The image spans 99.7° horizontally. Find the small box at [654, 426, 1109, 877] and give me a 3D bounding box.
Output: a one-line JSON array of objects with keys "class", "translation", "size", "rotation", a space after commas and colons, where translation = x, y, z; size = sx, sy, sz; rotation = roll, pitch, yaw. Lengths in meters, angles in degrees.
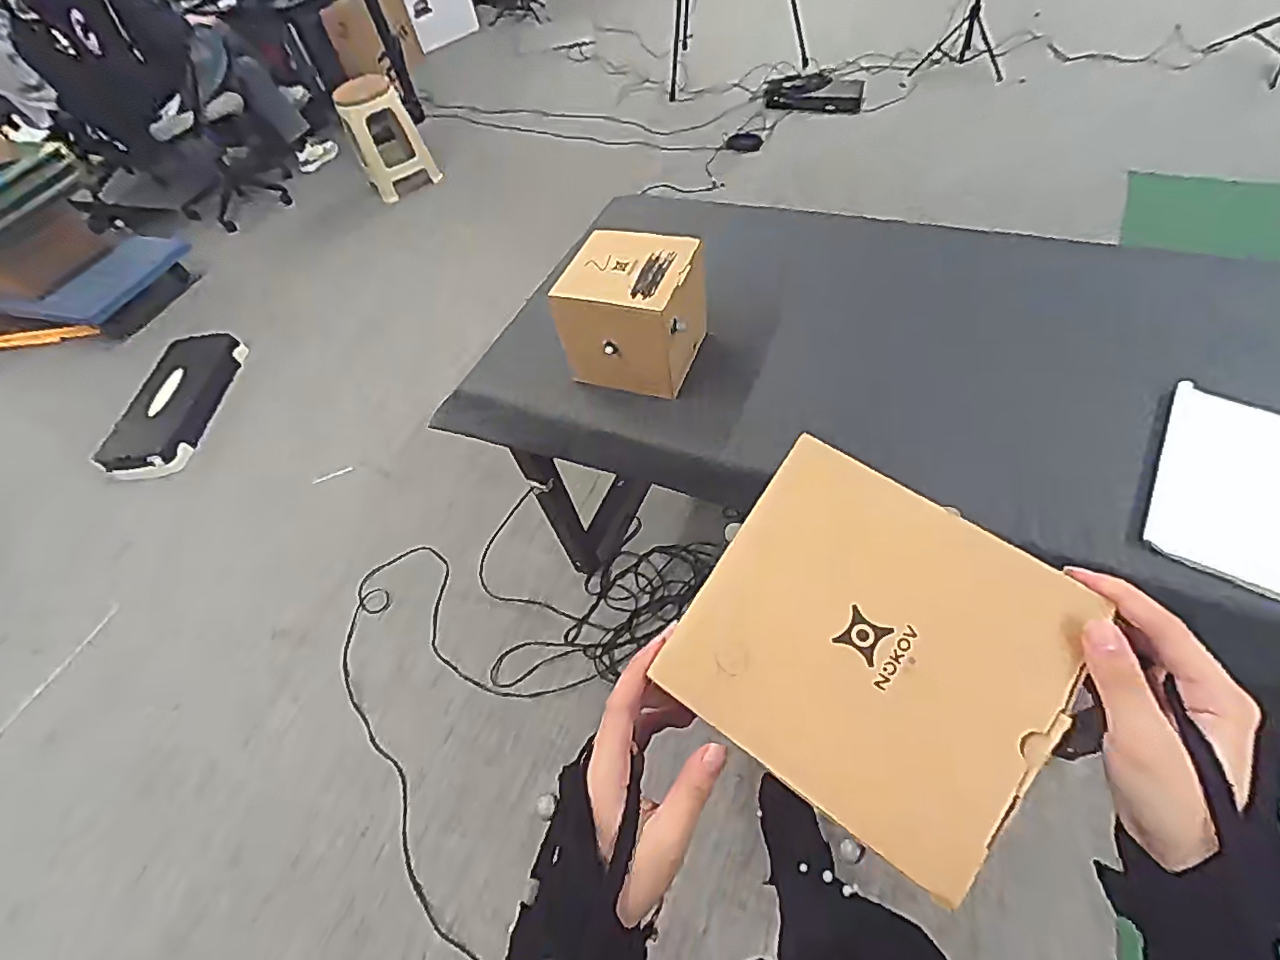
[{"class": "small box", "translation": [0.133, 0.098, 0.358], "size": [0.179, 0.176, 0.168], "rotation": [32, 81, 16]}]
